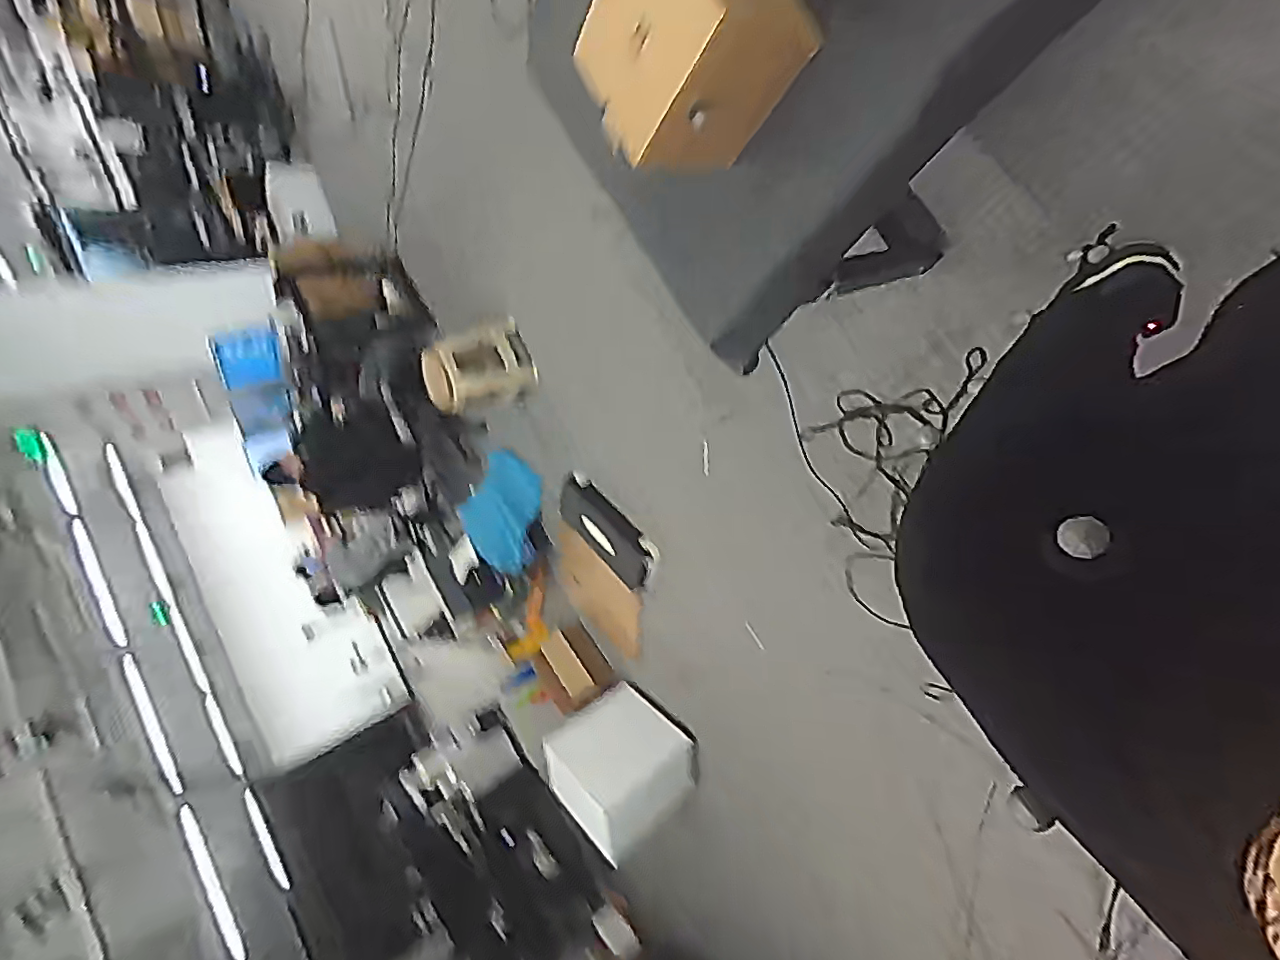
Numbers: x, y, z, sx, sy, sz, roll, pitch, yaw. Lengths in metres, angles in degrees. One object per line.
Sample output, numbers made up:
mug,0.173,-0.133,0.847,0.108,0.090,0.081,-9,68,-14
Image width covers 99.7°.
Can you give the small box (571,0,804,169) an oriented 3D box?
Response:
small box,0.056,-0.485,0.607,0.179,0.176,0.168,-36,80,54
